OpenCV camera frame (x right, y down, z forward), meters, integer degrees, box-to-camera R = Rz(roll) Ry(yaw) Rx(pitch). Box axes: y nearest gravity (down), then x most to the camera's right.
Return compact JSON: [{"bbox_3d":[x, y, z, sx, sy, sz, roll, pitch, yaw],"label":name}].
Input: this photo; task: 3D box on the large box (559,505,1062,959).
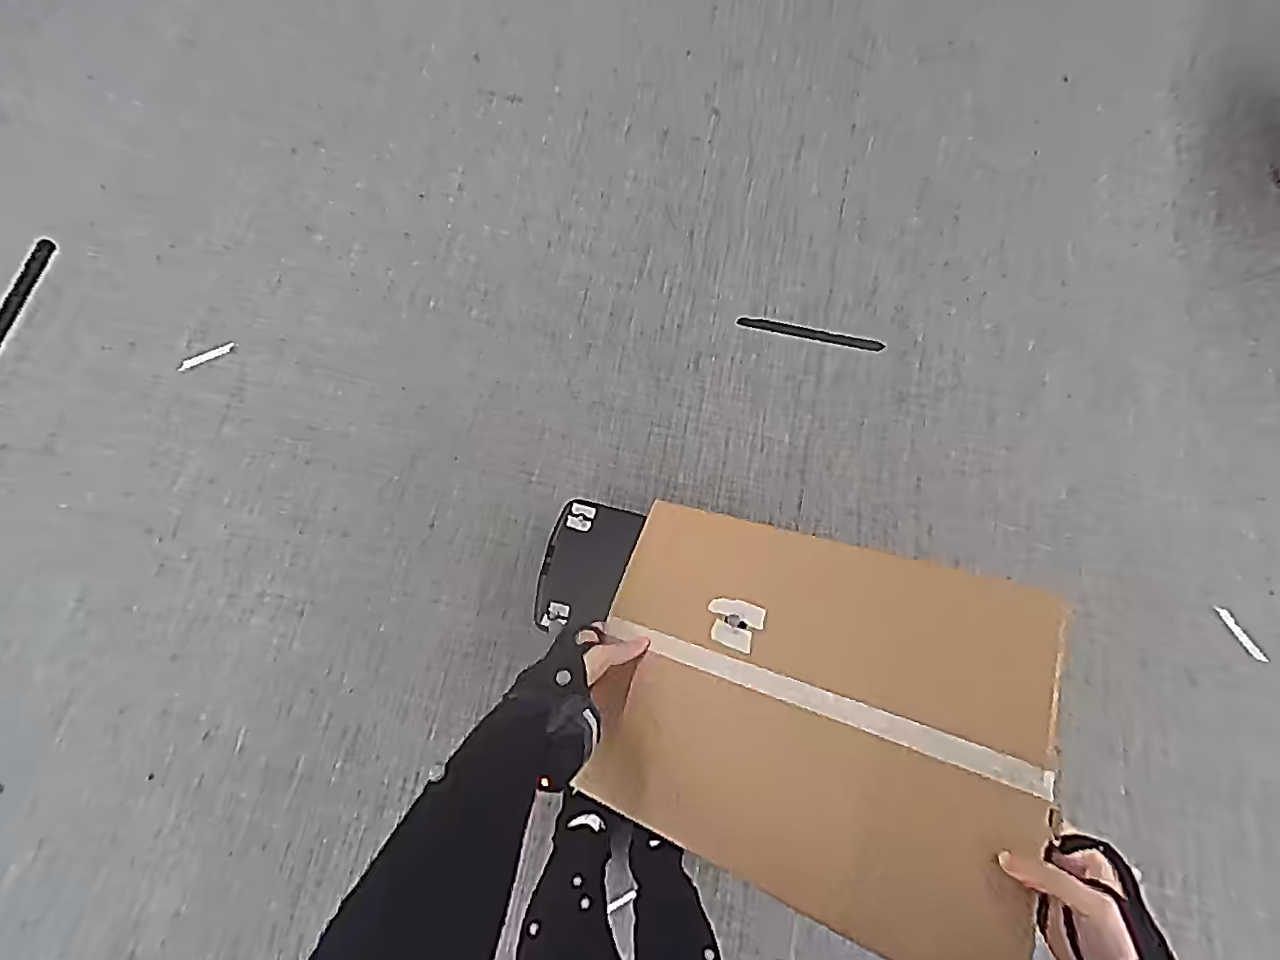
[{"bbox_3d":[0.194,0.260,0.625,0.408,0.320,0.320,11,67,28],"label":"large box"}]
